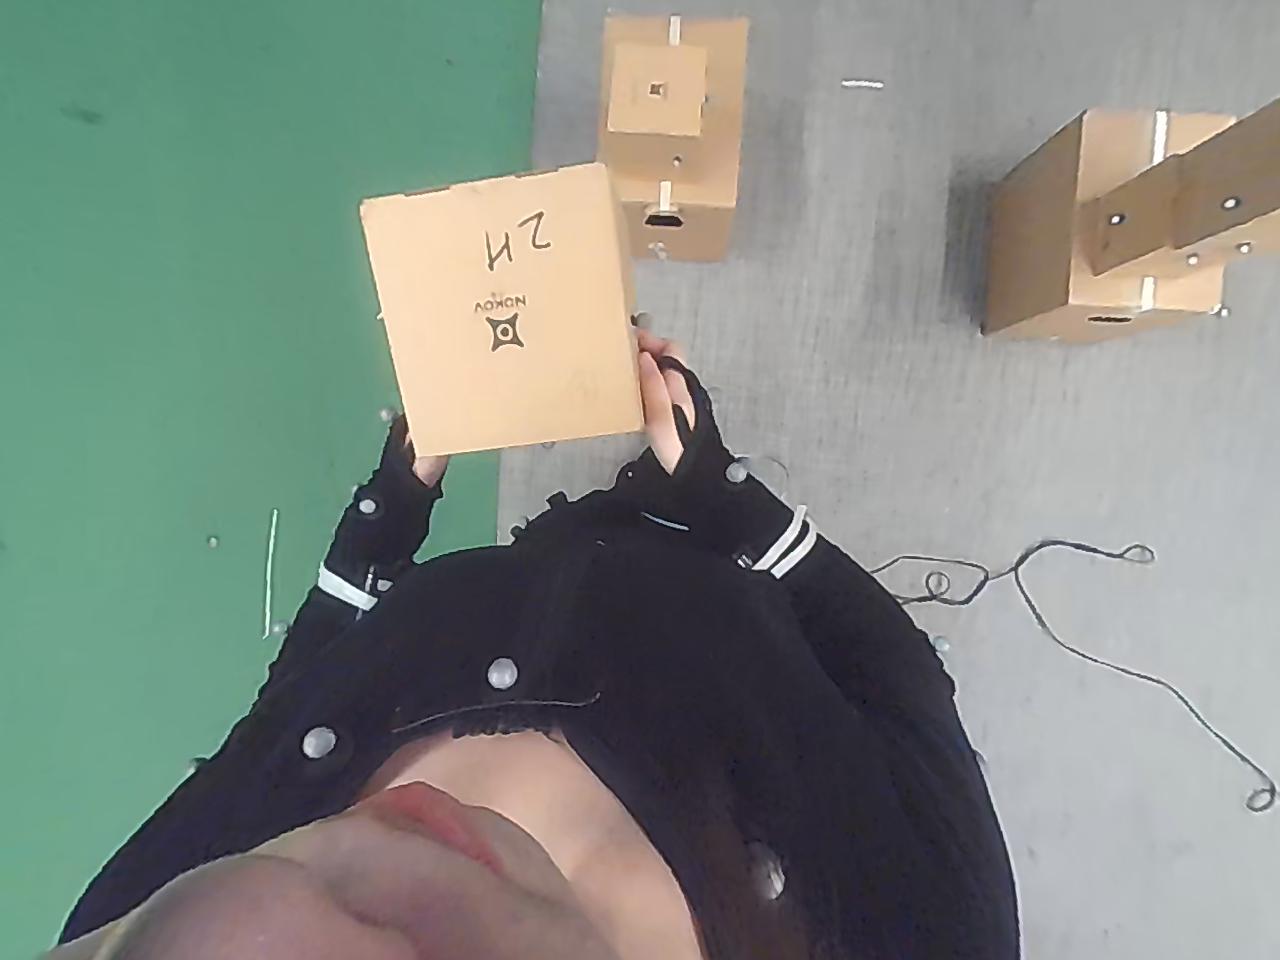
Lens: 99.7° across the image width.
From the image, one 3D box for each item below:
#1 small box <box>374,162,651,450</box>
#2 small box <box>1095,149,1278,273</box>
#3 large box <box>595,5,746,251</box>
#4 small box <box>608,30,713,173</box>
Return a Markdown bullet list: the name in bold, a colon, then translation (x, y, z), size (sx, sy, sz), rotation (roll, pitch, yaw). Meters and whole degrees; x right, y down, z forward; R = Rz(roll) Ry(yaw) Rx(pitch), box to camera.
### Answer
- **small box**: translation (-0.082, -0.132, 0.447), size (0.168, 0.176, 0.179), rotation (-6, 103, 4)
- **small box**: translation (1.040, -0.509, 1.042), size (0.179, 0.176, 0.168), rotation (2, 93, 3)
- **large box**: translation (0.071, -0.812, 1.305), size (0.320, 0.320, 0.408), rotation (4, 92, 2)
- **small box**: translation (0.042, -0.732, 1.064), size (0.179, 0.176, 0.168), rotation (7, 92, 4)
